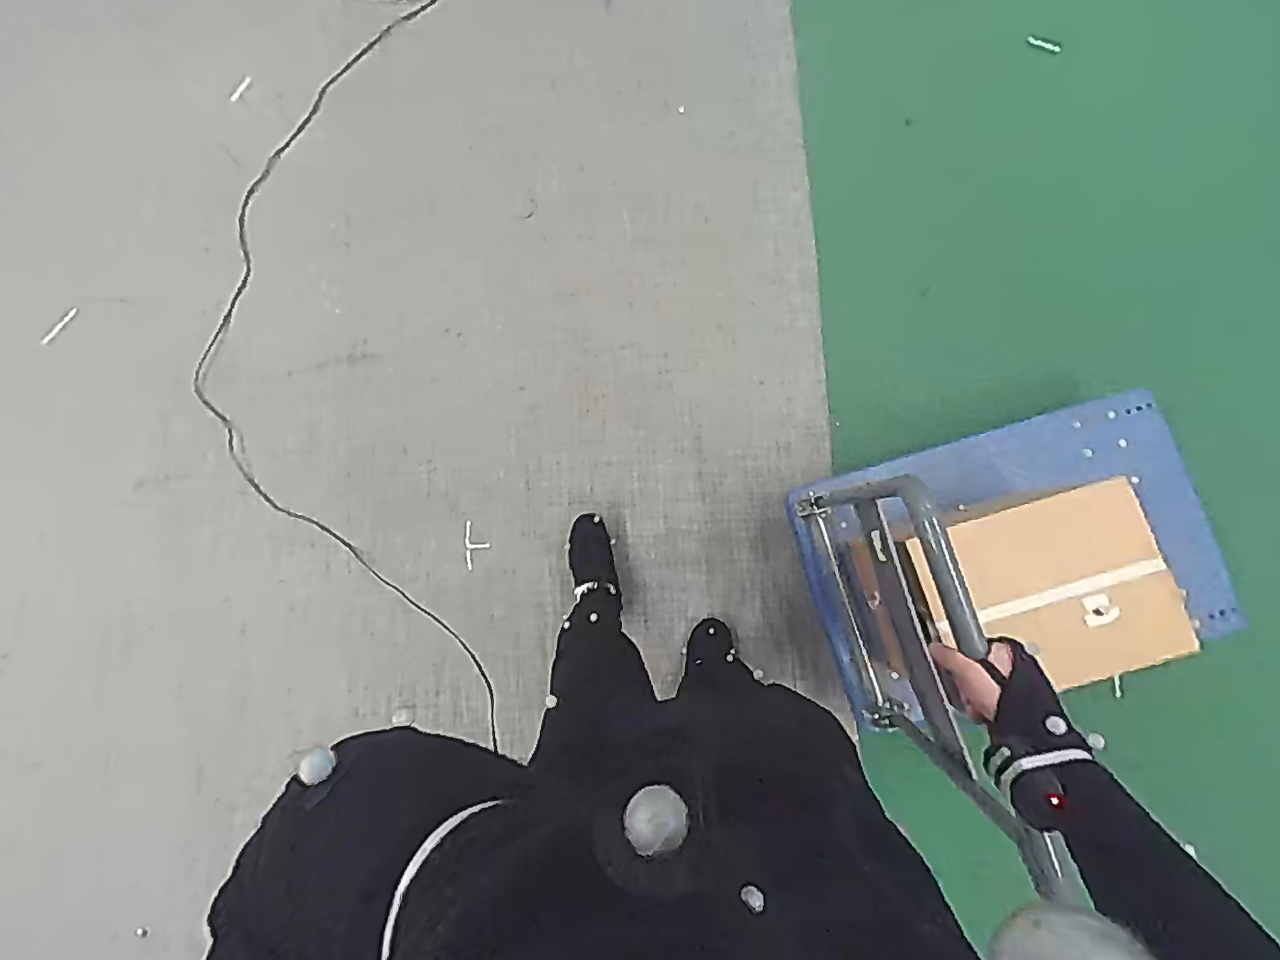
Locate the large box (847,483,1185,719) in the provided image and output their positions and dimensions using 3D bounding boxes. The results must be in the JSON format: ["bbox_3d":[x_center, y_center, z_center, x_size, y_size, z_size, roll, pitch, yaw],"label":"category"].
[{"bbox_3d":[0.702,0.229,1.088,0.408,0.320,0.320,-17,83,1],"label":"large box"}]
